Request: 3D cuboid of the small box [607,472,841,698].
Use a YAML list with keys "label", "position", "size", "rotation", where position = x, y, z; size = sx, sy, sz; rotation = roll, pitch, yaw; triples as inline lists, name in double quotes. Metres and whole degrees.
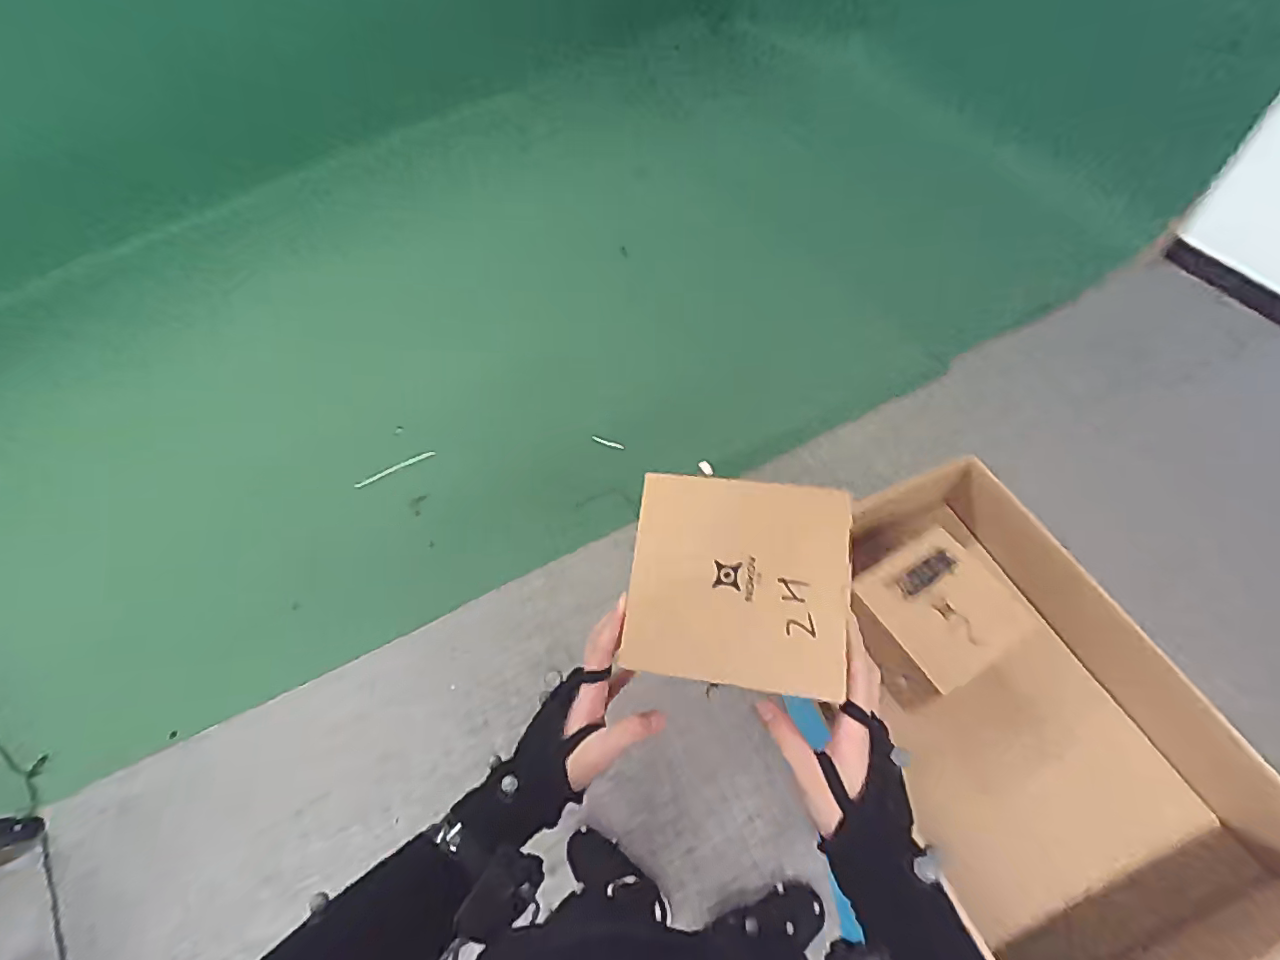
- label: "small box"
  position: [0.081, 0.102, 0.512]
  size: [0.179, 0.176, 0.168]
  rotation: [6, 74, 10]
